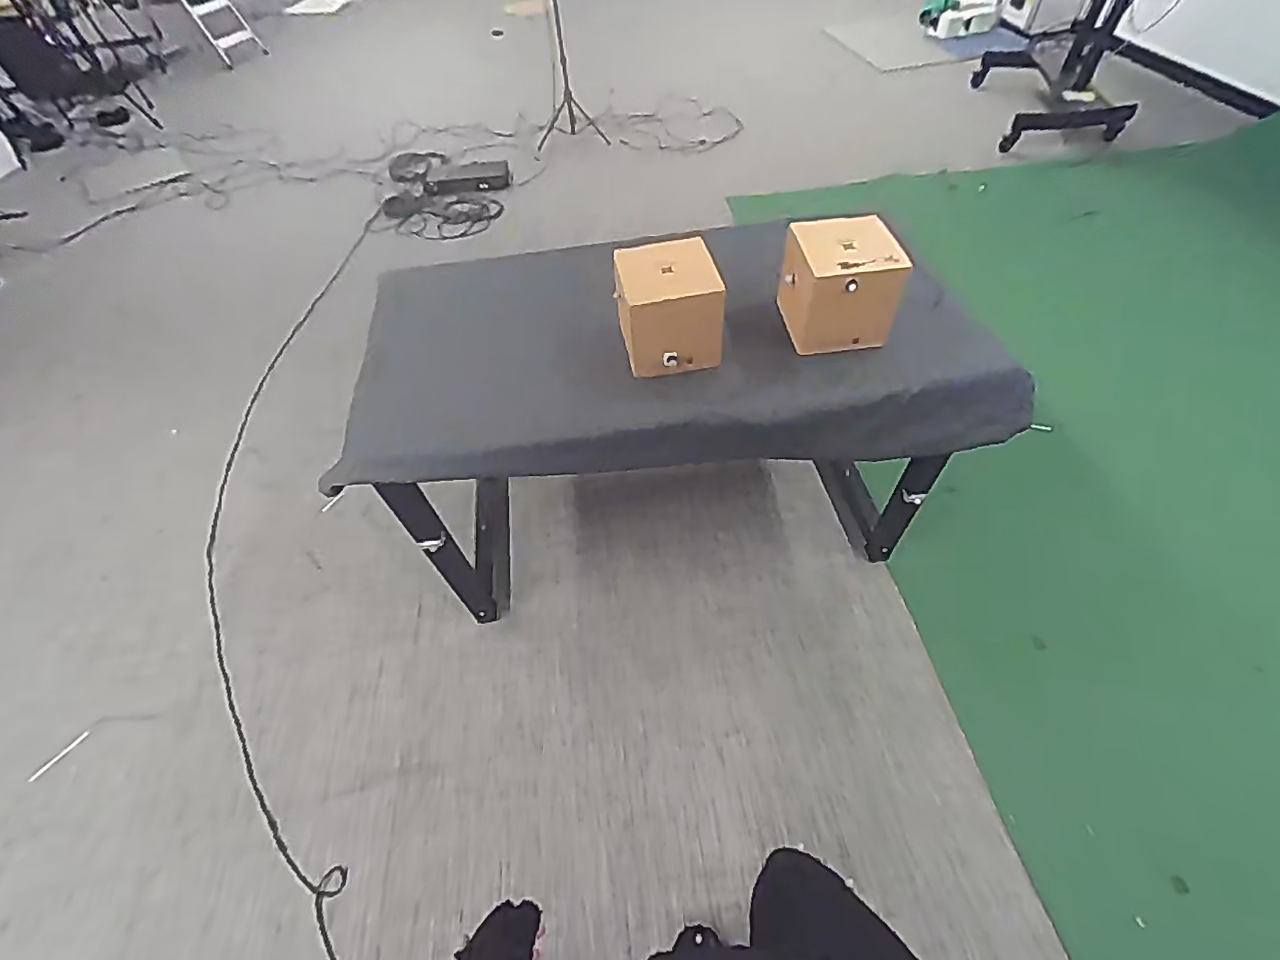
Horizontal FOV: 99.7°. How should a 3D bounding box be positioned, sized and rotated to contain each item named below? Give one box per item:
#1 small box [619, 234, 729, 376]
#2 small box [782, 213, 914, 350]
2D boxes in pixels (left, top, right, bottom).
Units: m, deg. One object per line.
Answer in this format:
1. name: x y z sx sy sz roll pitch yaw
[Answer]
1. small box: 0.059 -0.321 0.999 0.168 0.176 0.179 -11 54 -2
2. small box: 0.371 -0.367 1.006 0.168 0.176 0.179 -7 52 1
